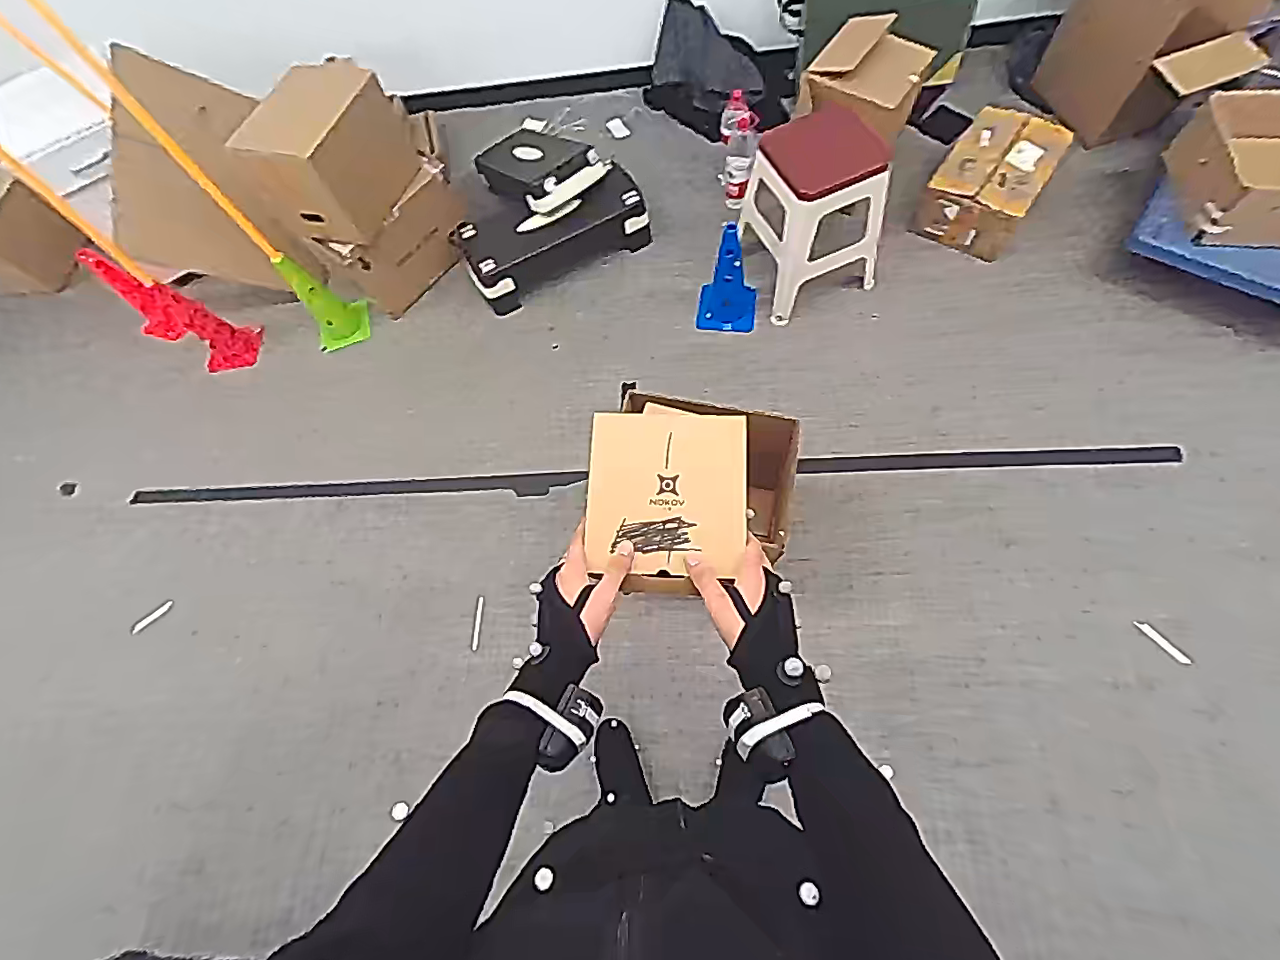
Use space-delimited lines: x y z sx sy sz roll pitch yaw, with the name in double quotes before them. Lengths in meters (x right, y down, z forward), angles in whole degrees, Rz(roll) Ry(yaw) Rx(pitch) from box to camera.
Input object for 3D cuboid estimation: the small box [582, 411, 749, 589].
"small box" 0.034 0.032 0.629 0.168 0.176 0.179 2 75 4
